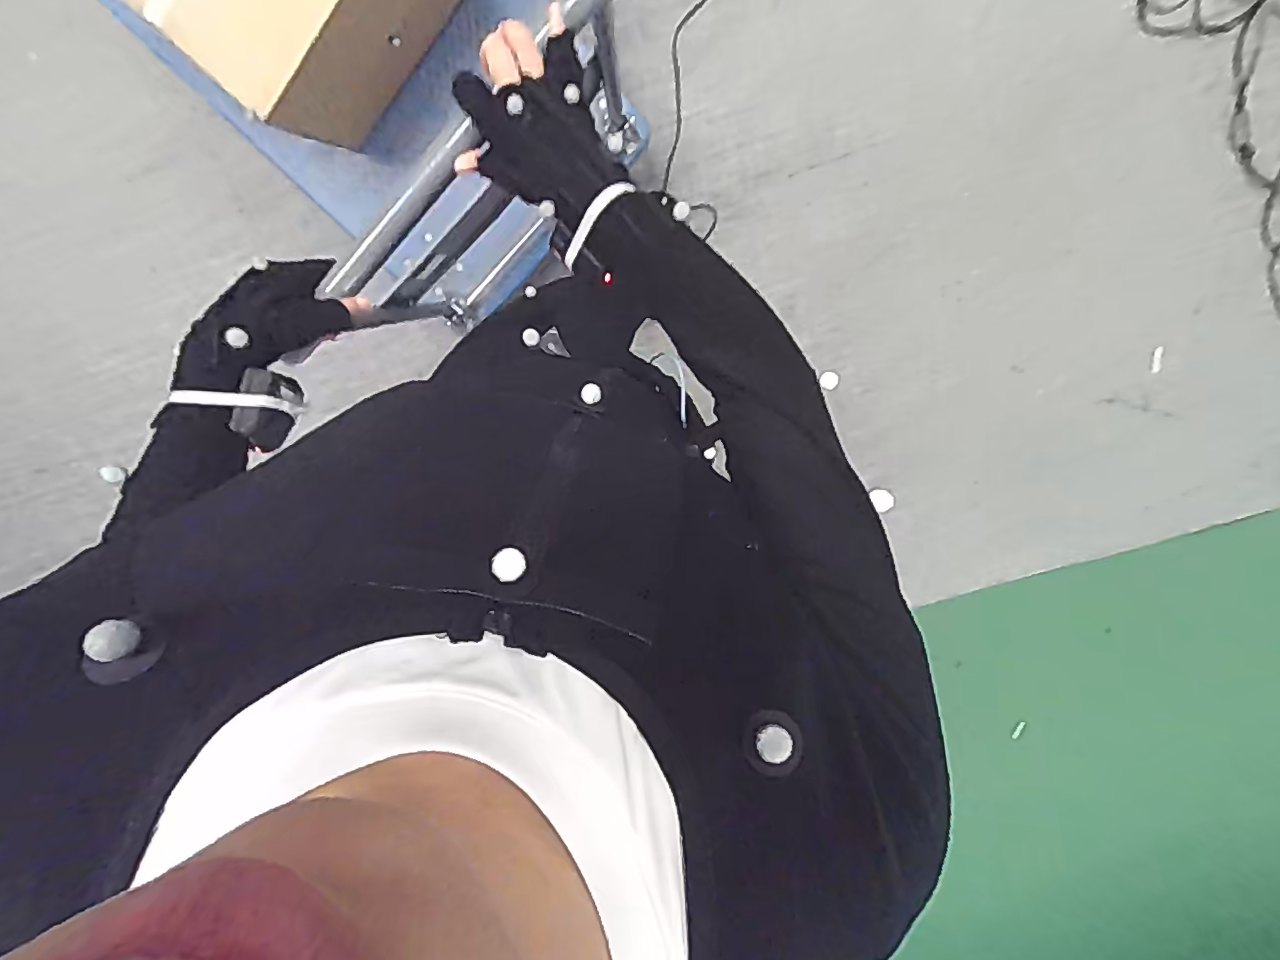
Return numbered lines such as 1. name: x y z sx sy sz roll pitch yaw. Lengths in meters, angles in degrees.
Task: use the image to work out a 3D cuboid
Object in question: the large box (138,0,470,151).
1. large box: -0.489 -0.792 0.809 0.320 0.320 0.408 41 107 -18
